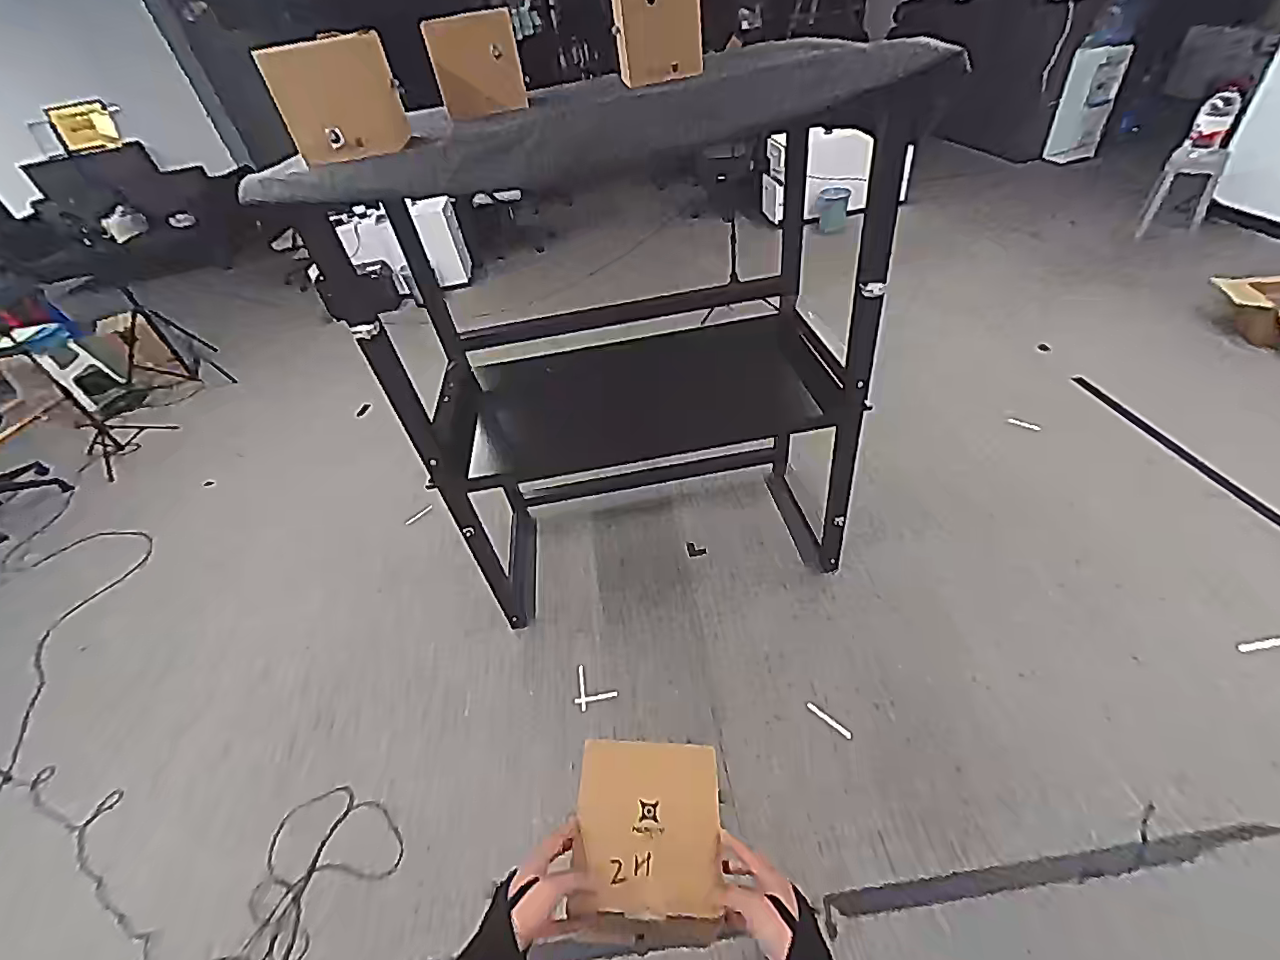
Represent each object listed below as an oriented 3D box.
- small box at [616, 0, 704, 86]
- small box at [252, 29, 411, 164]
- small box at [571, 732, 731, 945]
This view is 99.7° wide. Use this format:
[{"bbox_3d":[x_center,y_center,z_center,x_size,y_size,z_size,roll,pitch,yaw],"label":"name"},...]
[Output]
[{"bbox_3d":[0.041,-0.984,1.187,0.168,0.176,0.179,-11,41,0],"label":"small box"},{"bbox_3d":[-0.526,-0.676,0.955,0.168,0.176,0.179,-12,41,-2],"label":"small box"},{"bbox_3d":[0.012,0.433,0.657,0.168,0.176,0.179,3,42,1],"label":"small box"}]
